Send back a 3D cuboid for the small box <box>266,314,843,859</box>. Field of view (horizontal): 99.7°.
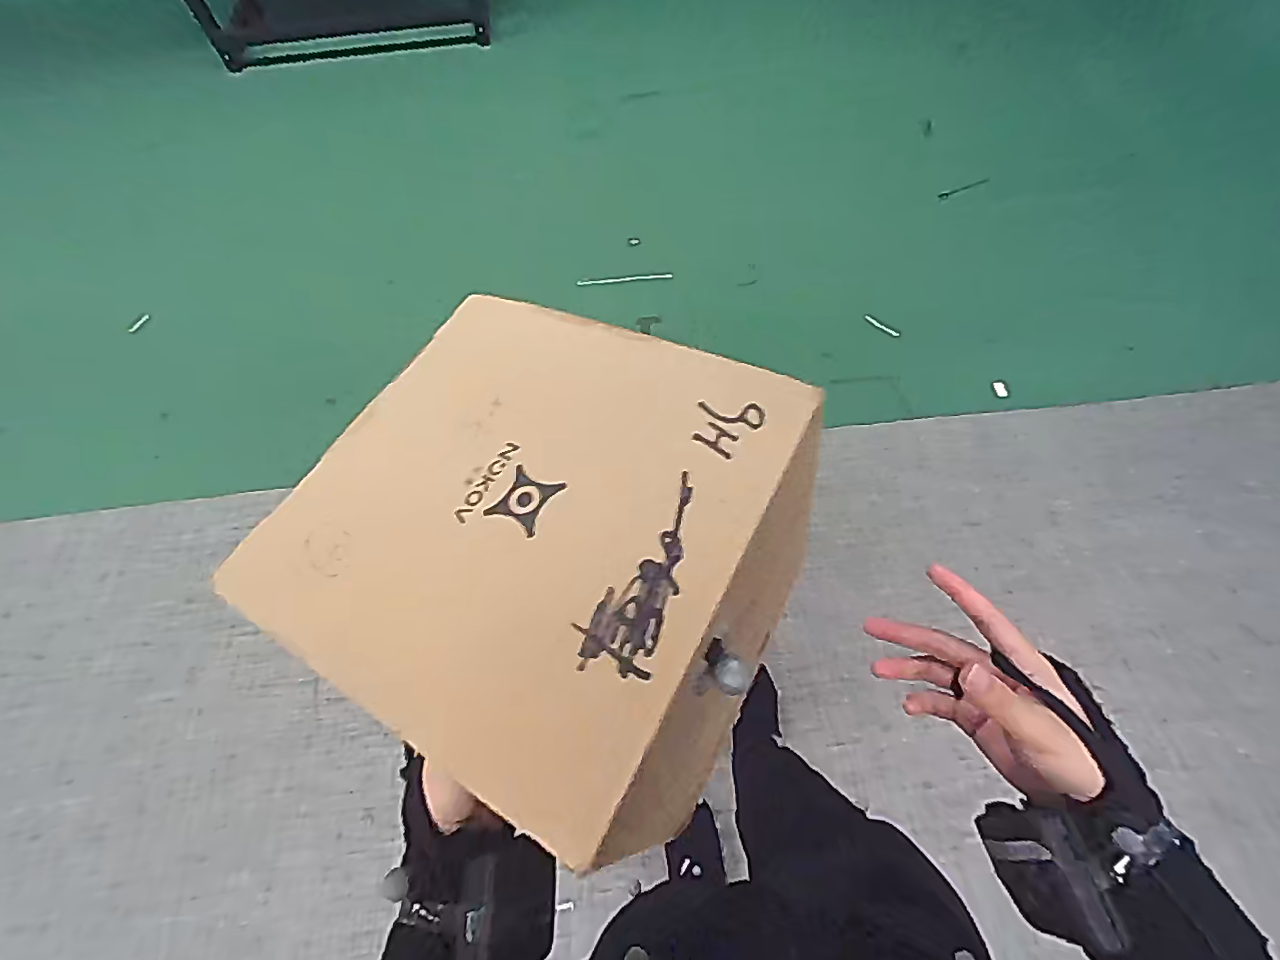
[{"bbox_3d":[-0.020,0.050,0.272,0.179,0.176,0.168,22,68,25],"label":"small box"}]
